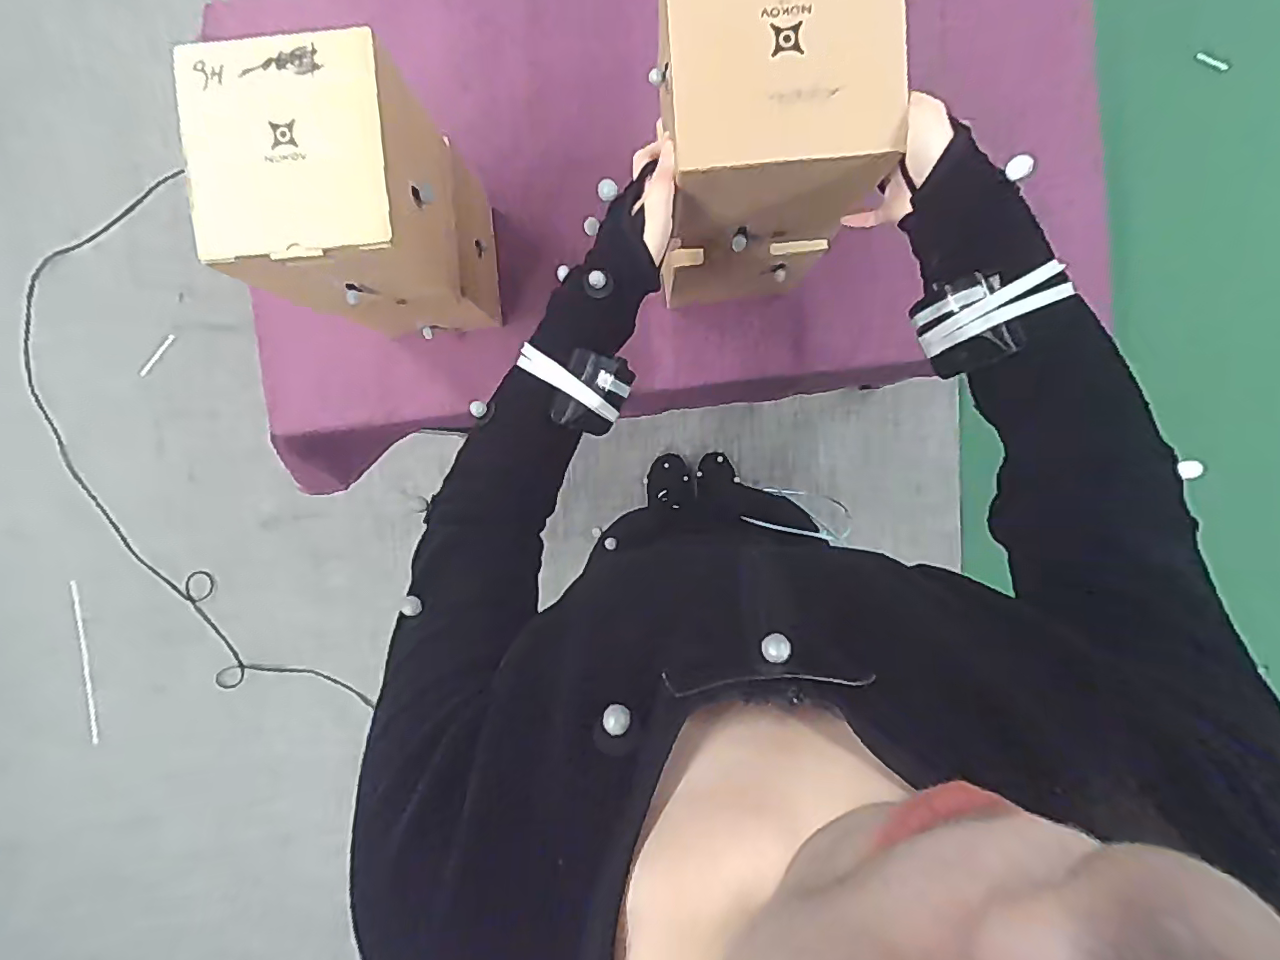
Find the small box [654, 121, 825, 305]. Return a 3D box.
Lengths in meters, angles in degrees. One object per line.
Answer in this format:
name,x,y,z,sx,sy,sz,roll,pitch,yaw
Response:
small box,0.113,-0.333,0.681,0.179,0.176,0.168,-7,92,1

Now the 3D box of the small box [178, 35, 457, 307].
small box,-0.290,-0.275,0.526,0.168,0.176,0.179,-4,93,0

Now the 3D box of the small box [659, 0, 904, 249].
small box,0.102,-0.317,0.457,0.168,0.176,0.179,-3,95,2

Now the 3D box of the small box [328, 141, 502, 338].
small box,-0.284,-0.292,0.690,0.168,0.176,0.179,-5,93,1
